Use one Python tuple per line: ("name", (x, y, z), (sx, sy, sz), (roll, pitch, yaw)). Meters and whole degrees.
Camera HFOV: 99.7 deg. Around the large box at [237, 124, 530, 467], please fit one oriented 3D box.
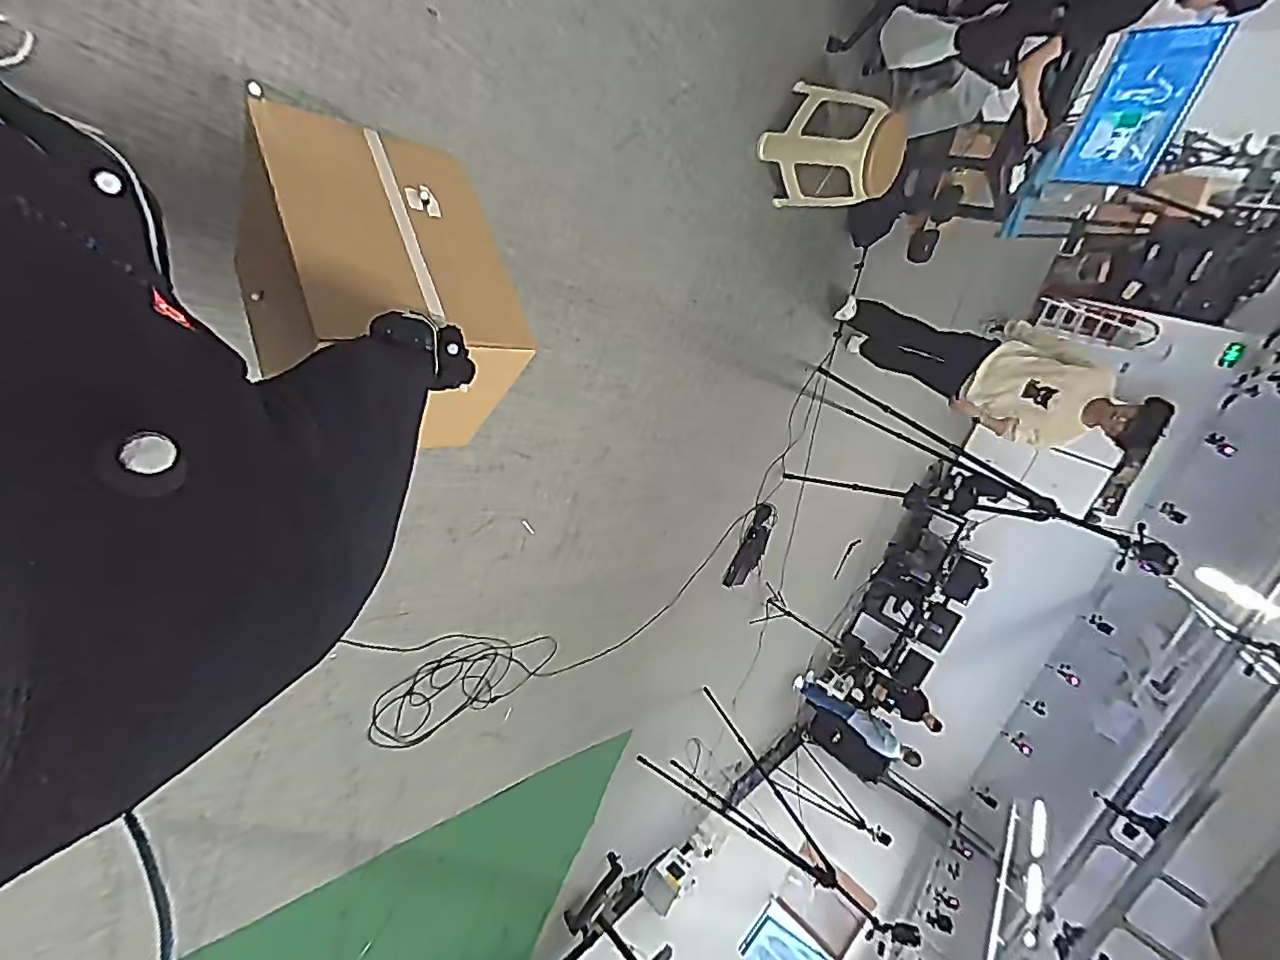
("large box", (-0.447, -0.279, 0.913), (0.320, 0.408, 0.320), (-10, 159, -44))
